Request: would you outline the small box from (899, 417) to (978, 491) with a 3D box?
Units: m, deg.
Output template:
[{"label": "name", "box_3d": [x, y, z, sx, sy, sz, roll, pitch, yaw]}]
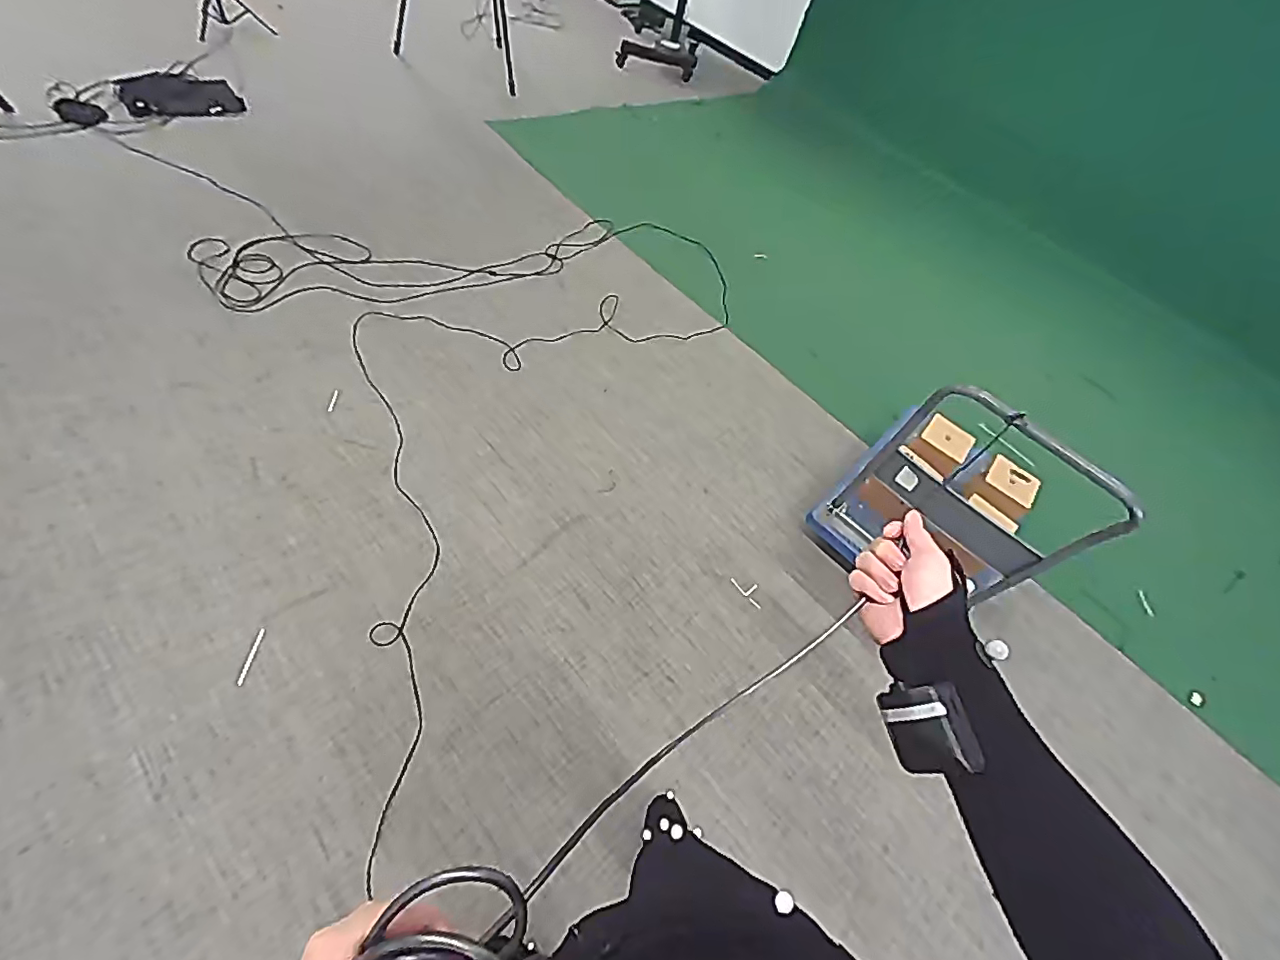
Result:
[{"label": "small box", "box_3d": [1.096, -0.091, 2.000, 0.168, 0.176, 0.179, 40, 55, 15]}]

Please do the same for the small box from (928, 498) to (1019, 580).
[{"label": "small box", "box_3d": [1.098, 0.197, 1.792, 0.179, 0.176, 0.168, -35, 69, -31]}]

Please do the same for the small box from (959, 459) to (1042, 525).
[{"label": "small box", "box_3d": [1.284, 0.064, 1.935, 0.168, 0.176, 0.179, 39, 56, 16]}]
